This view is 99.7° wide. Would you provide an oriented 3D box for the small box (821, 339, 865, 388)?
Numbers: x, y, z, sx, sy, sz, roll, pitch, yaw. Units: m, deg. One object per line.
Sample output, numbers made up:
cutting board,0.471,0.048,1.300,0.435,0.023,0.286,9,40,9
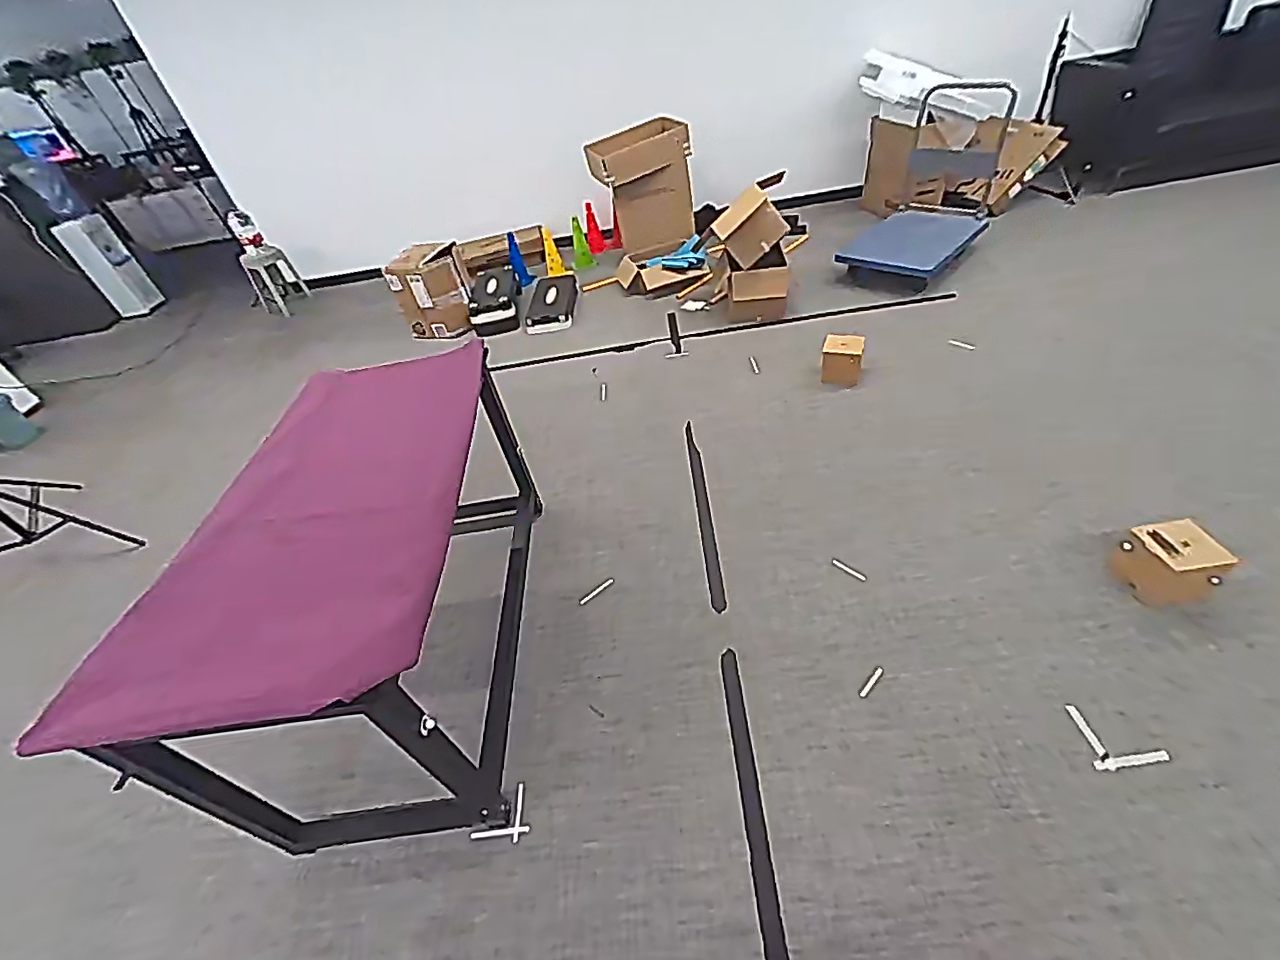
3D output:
small box,0.976,-0.560,2.602,0.179,0.176,0.168,10,45,22
